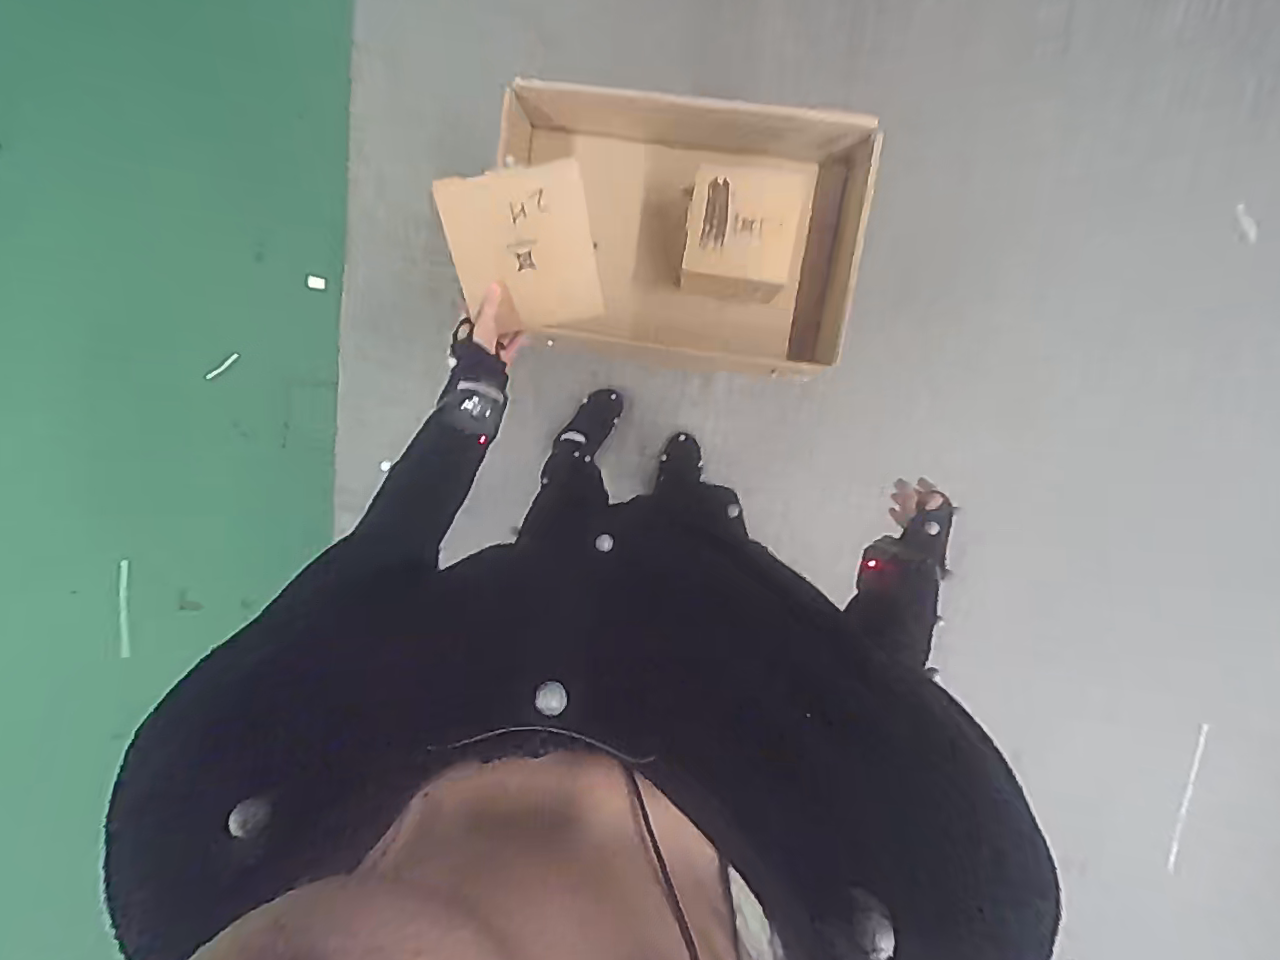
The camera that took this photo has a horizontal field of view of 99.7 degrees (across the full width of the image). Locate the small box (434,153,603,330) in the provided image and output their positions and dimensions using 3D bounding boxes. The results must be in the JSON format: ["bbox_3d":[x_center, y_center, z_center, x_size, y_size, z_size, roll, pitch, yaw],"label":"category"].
[{"bbox_3d":[-0.145,-0.312,0.702,0.168,0.176,0.179,-11,119,-4],"label":"small box"}]
